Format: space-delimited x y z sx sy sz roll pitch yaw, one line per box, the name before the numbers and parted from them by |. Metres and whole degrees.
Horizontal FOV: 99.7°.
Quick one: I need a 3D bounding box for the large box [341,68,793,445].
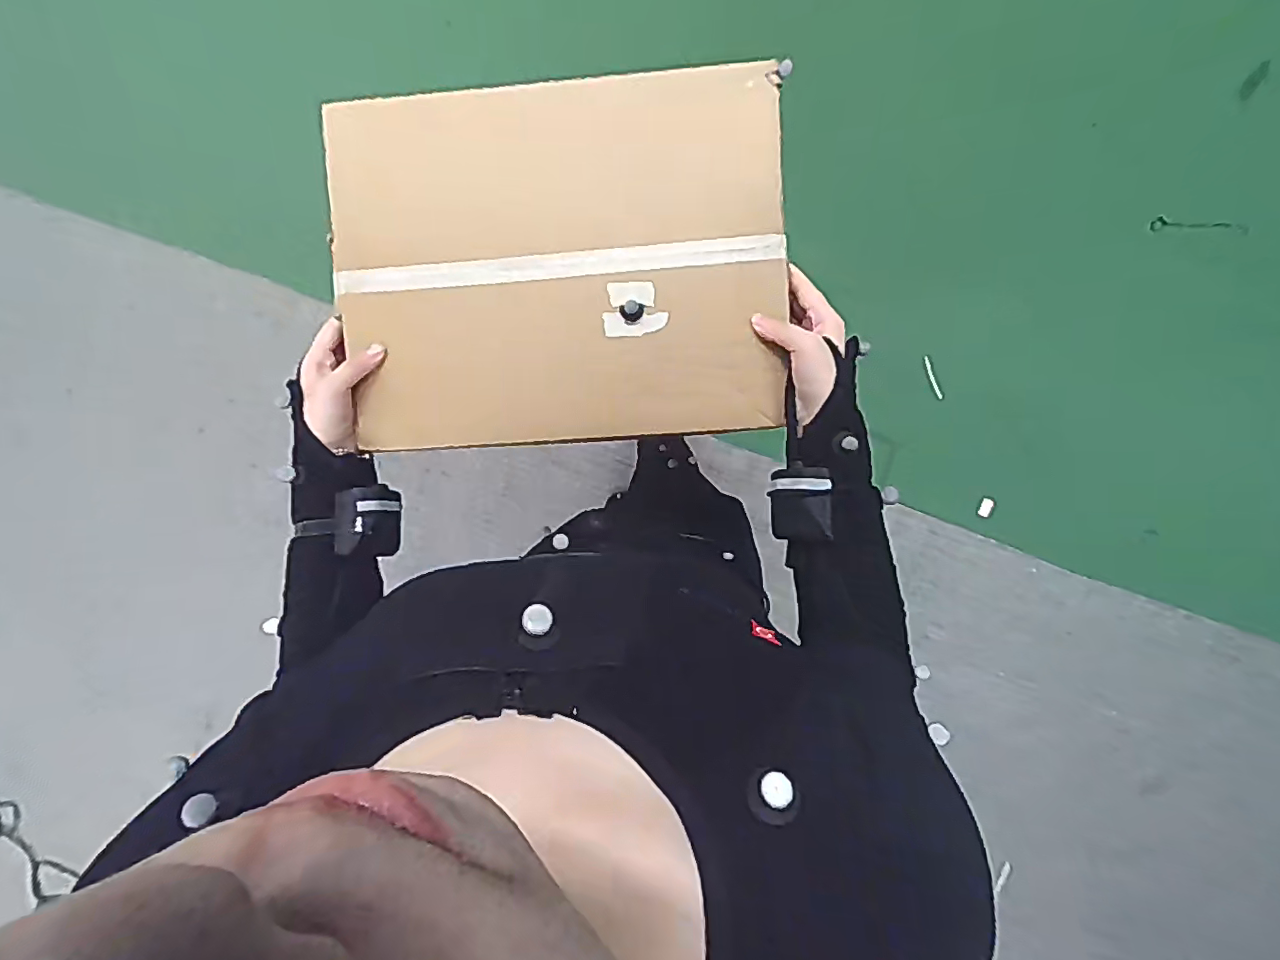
large box | -0.063 -0.210 0.643 0.408 0.320 0.320 -3 95 2
